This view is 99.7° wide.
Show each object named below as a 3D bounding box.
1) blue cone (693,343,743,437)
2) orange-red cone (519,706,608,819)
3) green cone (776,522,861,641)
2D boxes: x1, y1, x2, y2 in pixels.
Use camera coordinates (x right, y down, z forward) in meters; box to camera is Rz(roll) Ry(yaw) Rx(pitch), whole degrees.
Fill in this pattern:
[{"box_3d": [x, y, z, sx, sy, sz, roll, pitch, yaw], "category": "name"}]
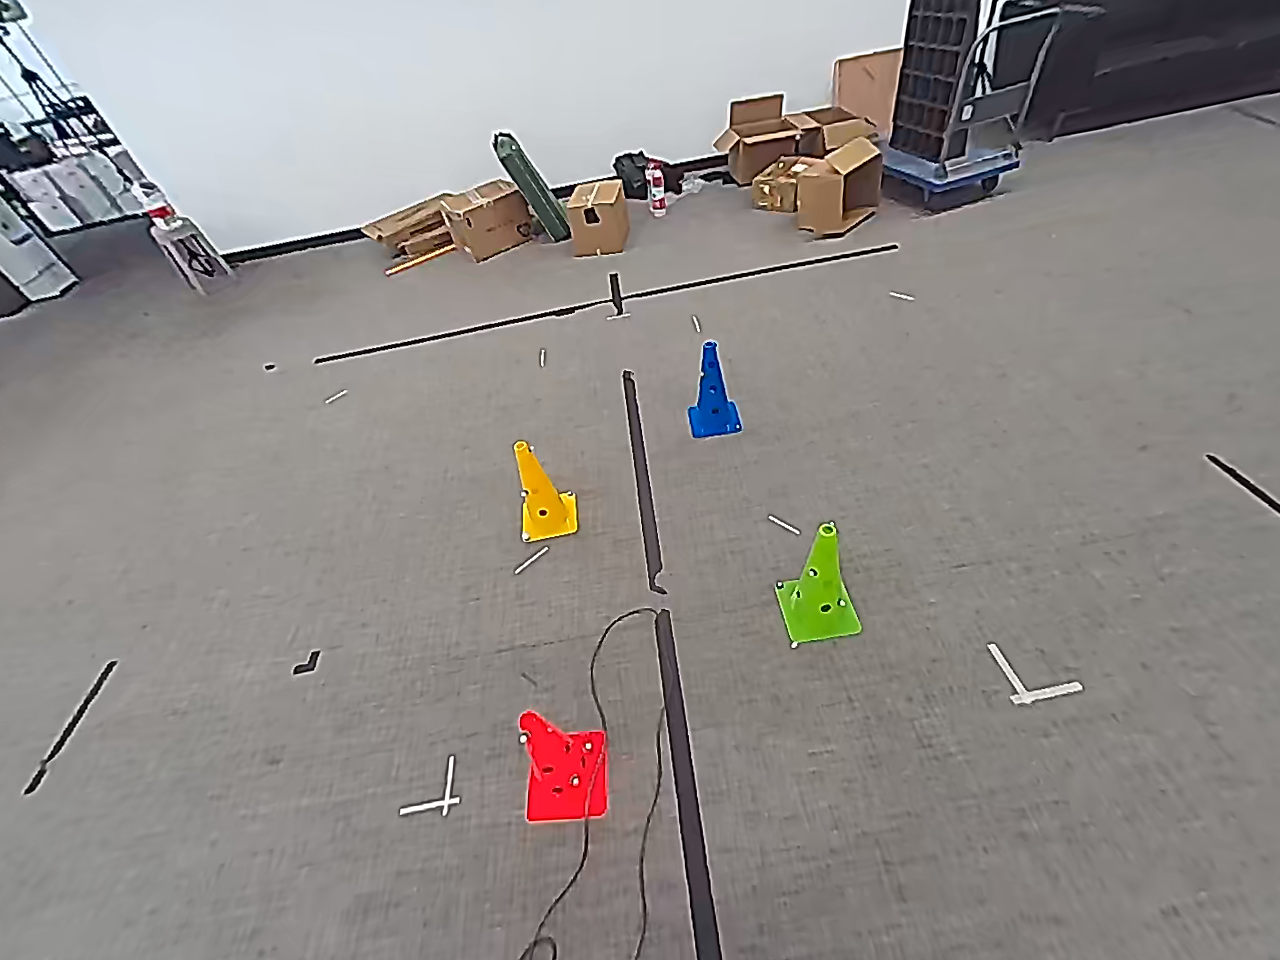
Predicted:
[{"box_3d": [0.296, -0.360, 2.106, 0.192, 0.380, 0.193, -6, 45, 4], "category": "blue cone"}, {"box_3d": [-0.208, 0.610, 1.232, 0.199, 0.360, 0.198, -7, 43, 6], "category": "orange-red cone"}, {"box_3d": [0.489, 0.247, 1.443, 0.202, 0.368, 0.200, -9, 45, 1], "category": "green cone"}]
